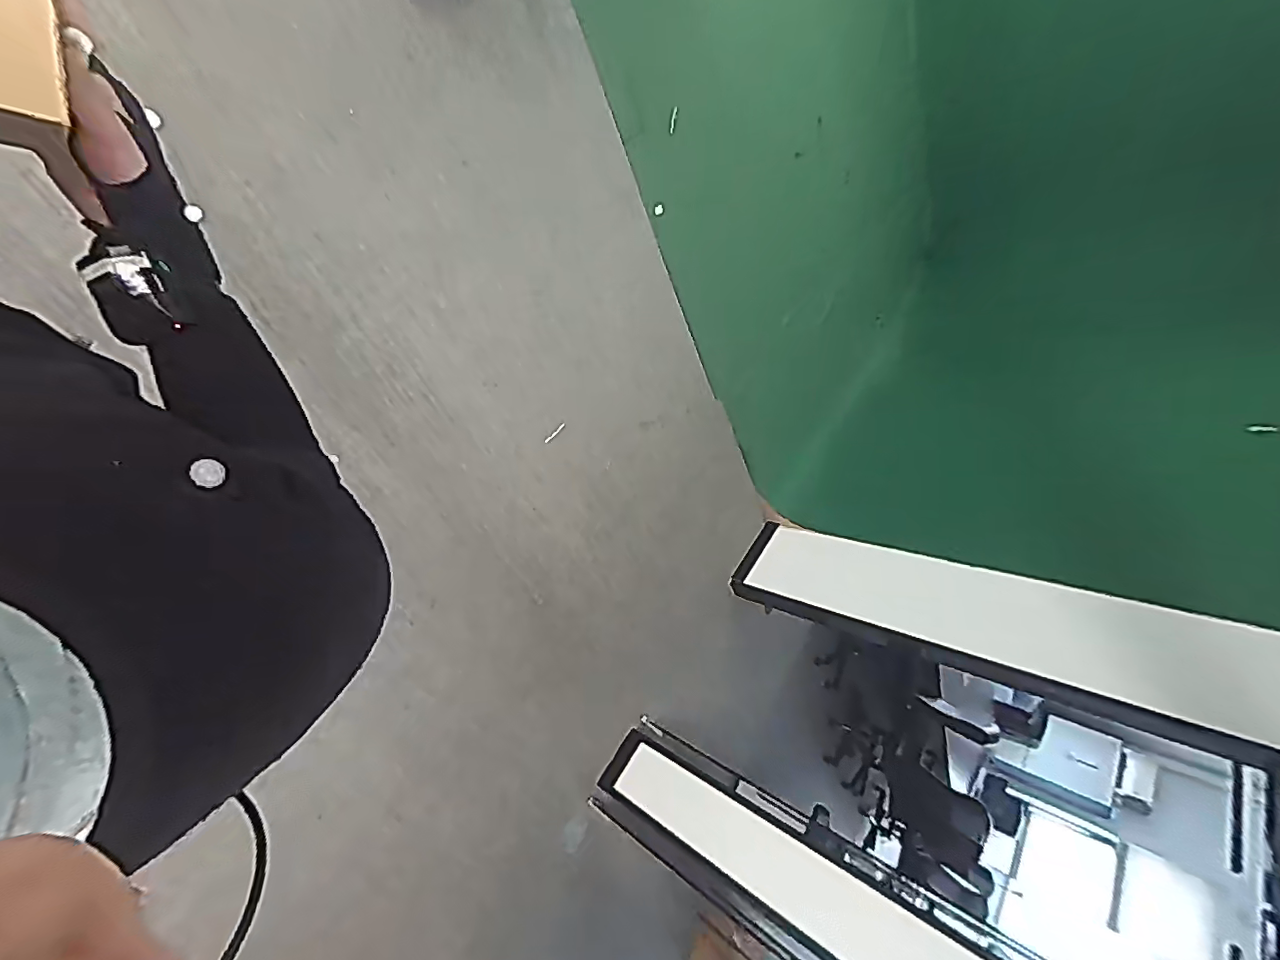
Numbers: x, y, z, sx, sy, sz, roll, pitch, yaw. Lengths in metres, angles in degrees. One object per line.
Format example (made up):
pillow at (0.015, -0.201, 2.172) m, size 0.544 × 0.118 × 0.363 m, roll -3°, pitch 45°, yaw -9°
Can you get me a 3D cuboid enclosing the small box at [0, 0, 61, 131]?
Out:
small box at (-0.404, -0.284, 0.248) m, size 0.179 × 0.176 × 0.168 m, roll -9°, pitch 114°, yaw -46°
